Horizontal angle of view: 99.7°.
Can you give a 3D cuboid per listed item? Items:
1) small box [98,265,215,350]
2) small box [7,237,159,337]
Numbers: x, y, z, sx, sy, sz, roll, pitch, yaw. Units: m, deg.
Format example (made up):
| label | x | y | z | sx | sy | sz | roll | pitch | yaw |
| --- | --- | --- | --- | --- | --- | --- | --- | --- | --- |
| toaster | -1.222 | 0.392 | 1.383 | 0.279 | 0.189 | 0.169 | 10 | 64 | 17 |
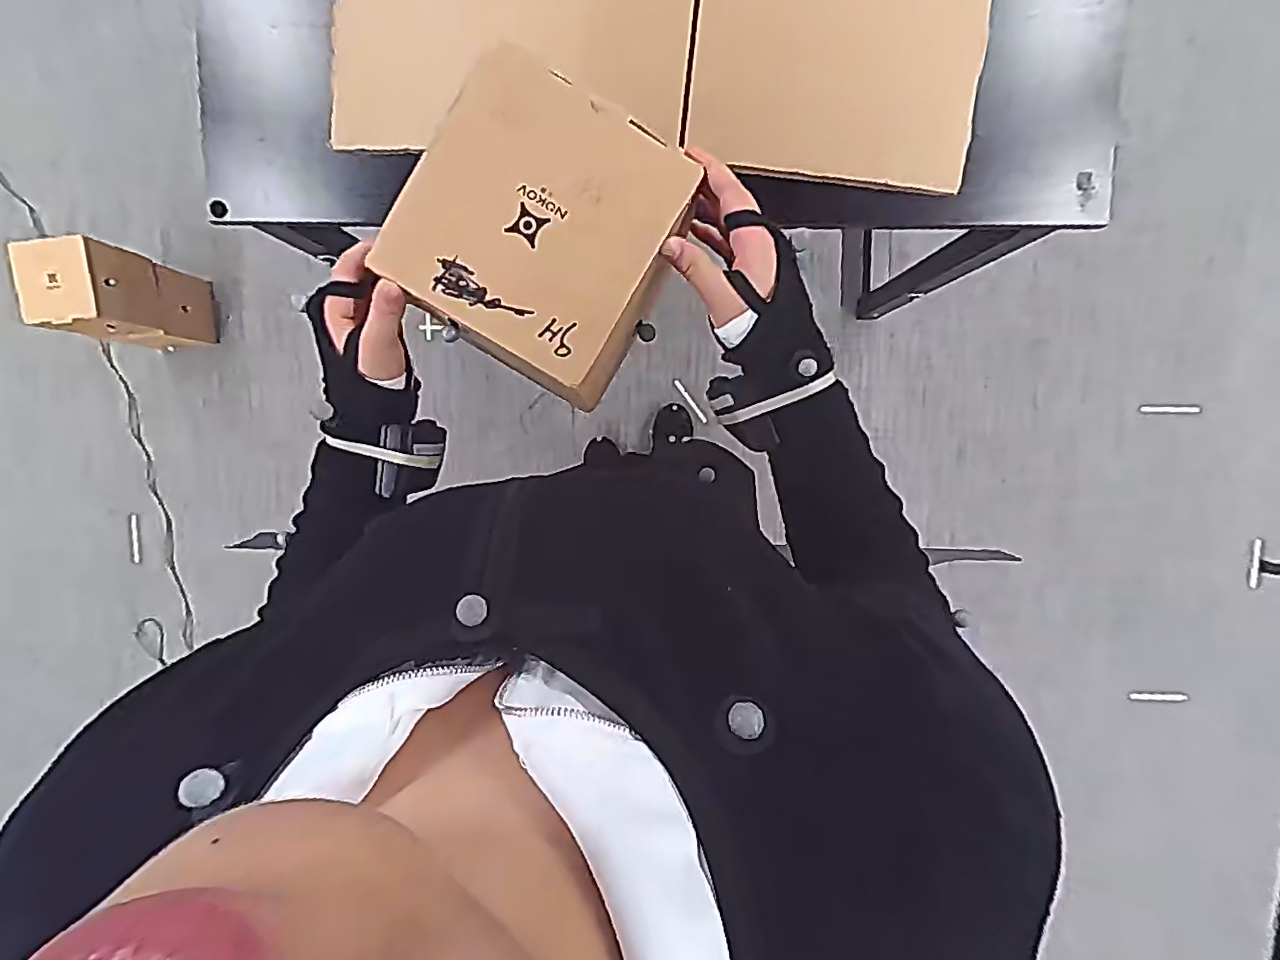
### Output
| label | x | y | z | sx | sy | sz | roll | pitch | yaw |
| --- | --- | --- | --- | --- | --- | --- | --- | --- | --- |
| small box | -1.248 | -0.438 | 1.394 | 0.168 | 0.176 | 0.179 | -3 | 96 | 2 |
| small box | -1.253 | -0.428 | 1.232 | 0.168 | 0.176 | 0.179 | -6 | 94 | 1 |
